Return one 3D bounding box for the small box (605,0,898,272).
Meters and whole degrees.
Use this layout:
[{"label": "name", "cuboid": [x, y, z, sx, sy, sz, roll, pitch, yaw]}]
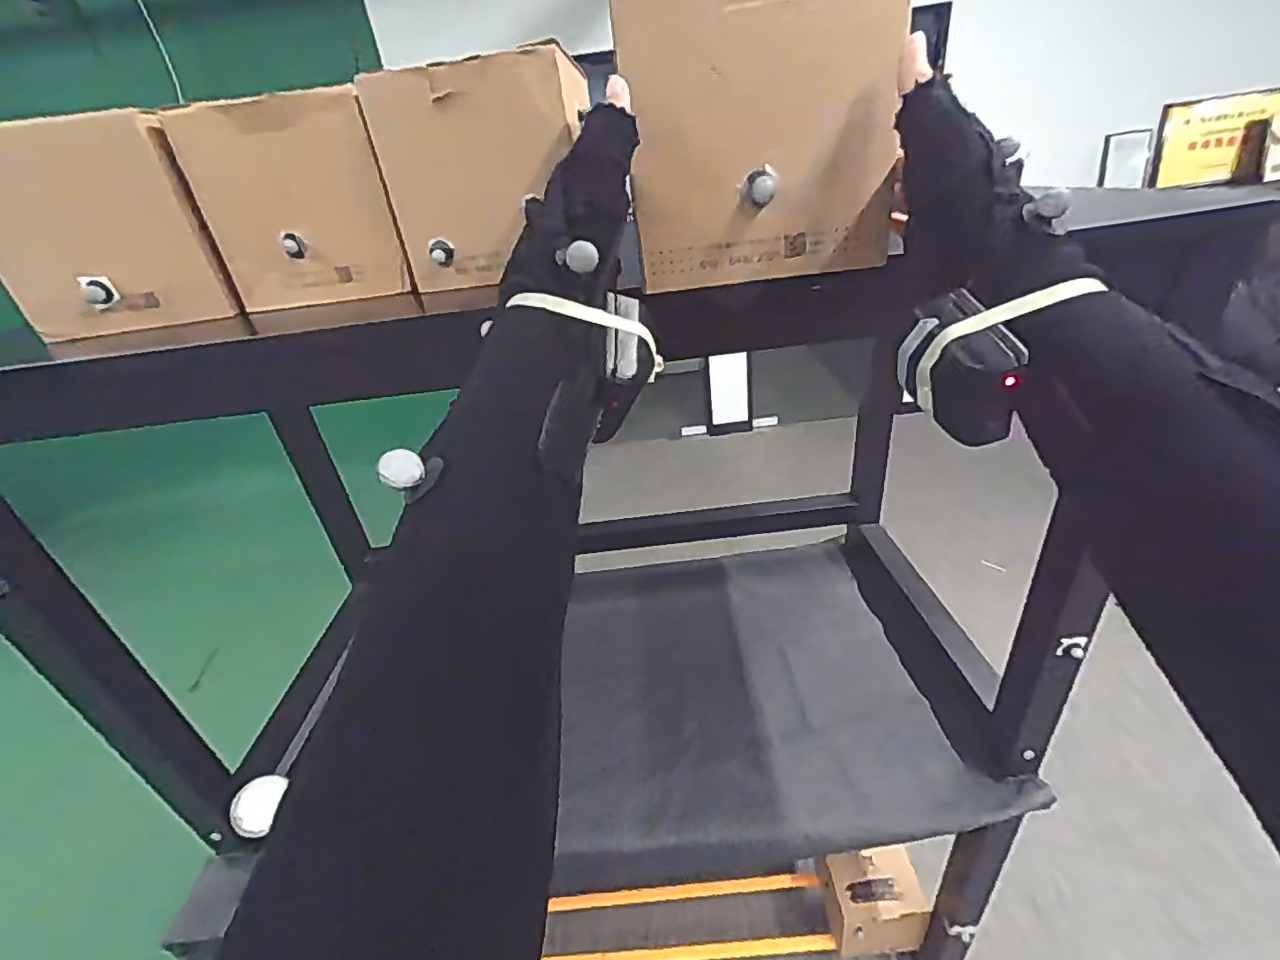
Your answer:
[{"label": "small box", "cuboid": [0.072, -0.259, 0.403, 0.168, 0.176, 0.179, -6, 29, 5]}]
